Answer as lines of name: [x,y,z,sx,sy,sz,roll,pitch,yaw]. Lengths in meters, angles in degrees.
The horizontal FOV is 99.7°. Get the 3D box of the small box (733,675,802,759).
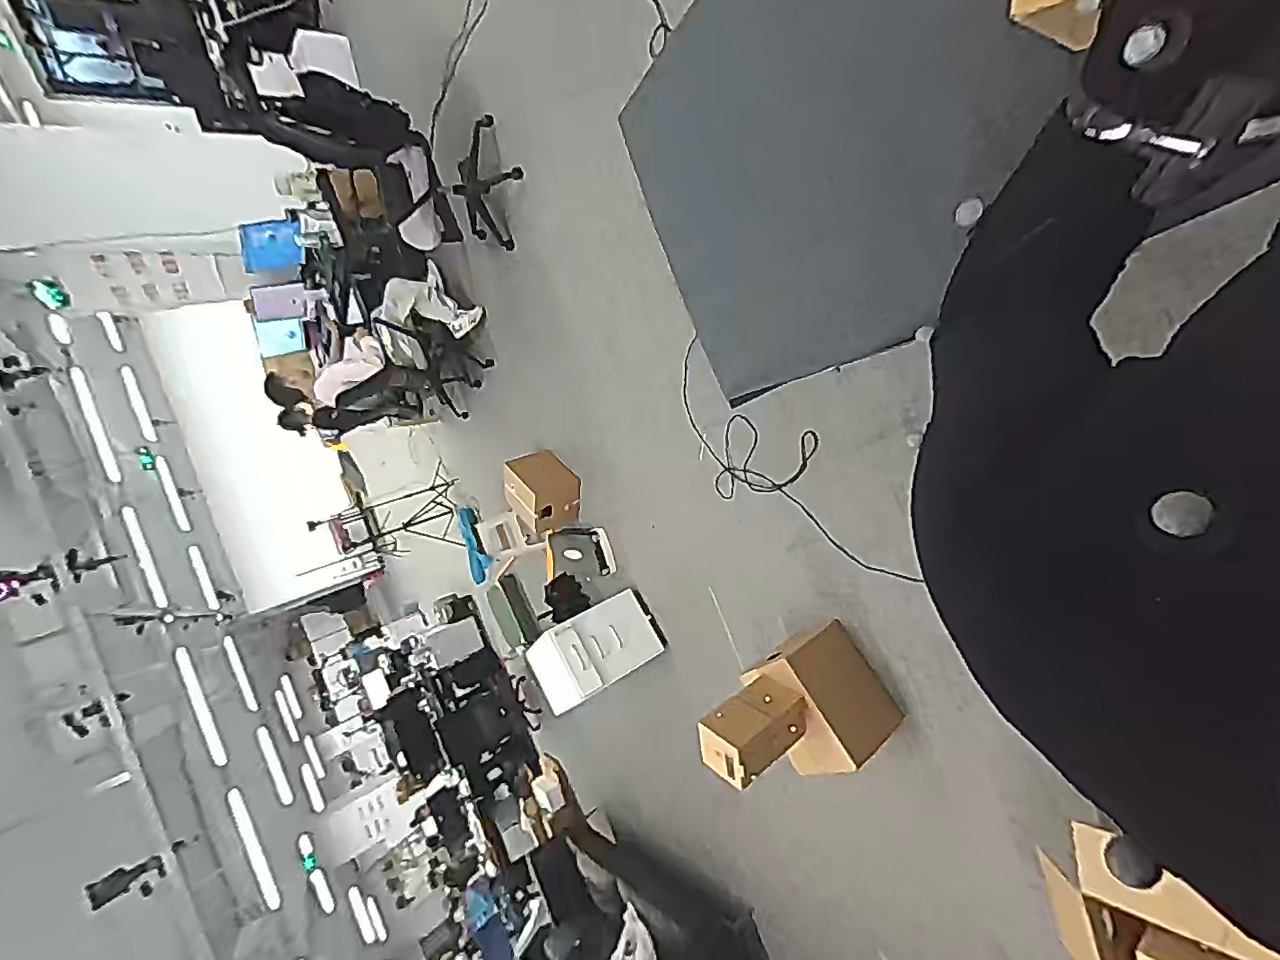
small box: [0.444,0.804,1.859,0.179,0.176,0.168,13,117,49]

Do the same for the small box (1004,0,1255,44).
small box: [0.430,-0.474,0.421,0.179,0.176,0.168,25,126,48]

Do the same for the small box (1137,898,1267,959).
small box: [1.198,1.055,1.147,0.168,0.176,0.179,-2,106,59]
